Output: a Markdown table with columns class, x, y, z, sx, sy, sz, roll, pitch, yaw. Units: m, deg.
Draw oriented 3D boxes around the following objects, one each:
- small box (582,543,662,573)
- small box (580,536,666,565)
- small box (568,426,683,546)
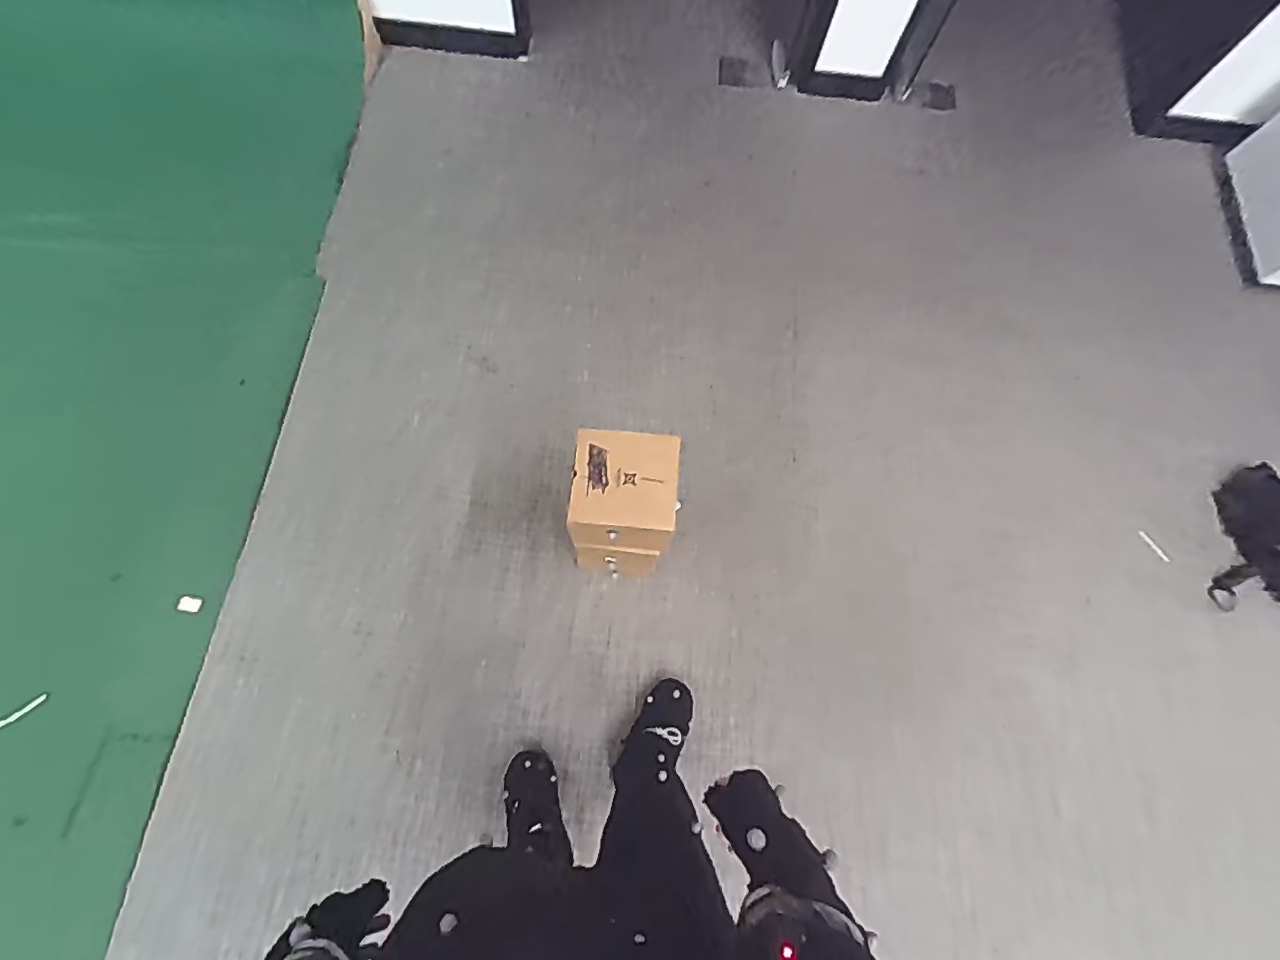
| class | x | y | z | sx | sy | sz | roll | pitch | yaw |
| --- | --- | --- | --- | --- | --- | --- | --- | --- | --- |
| small box | -0.033 | 0.120 | 1.271 | 0.179 | 0.176 | 0.168 | 8 | 72 | 0 |
| small box | -0.025 | 0.070 | 1.116 | 0.168 | 0.176 | 0.179 | 6 | 74 | 2 |
| small box | -0.022 | 0.018 | 0.960 | 0.179 | 0.176 | 0.168 | 5 | 72 | 0 |
